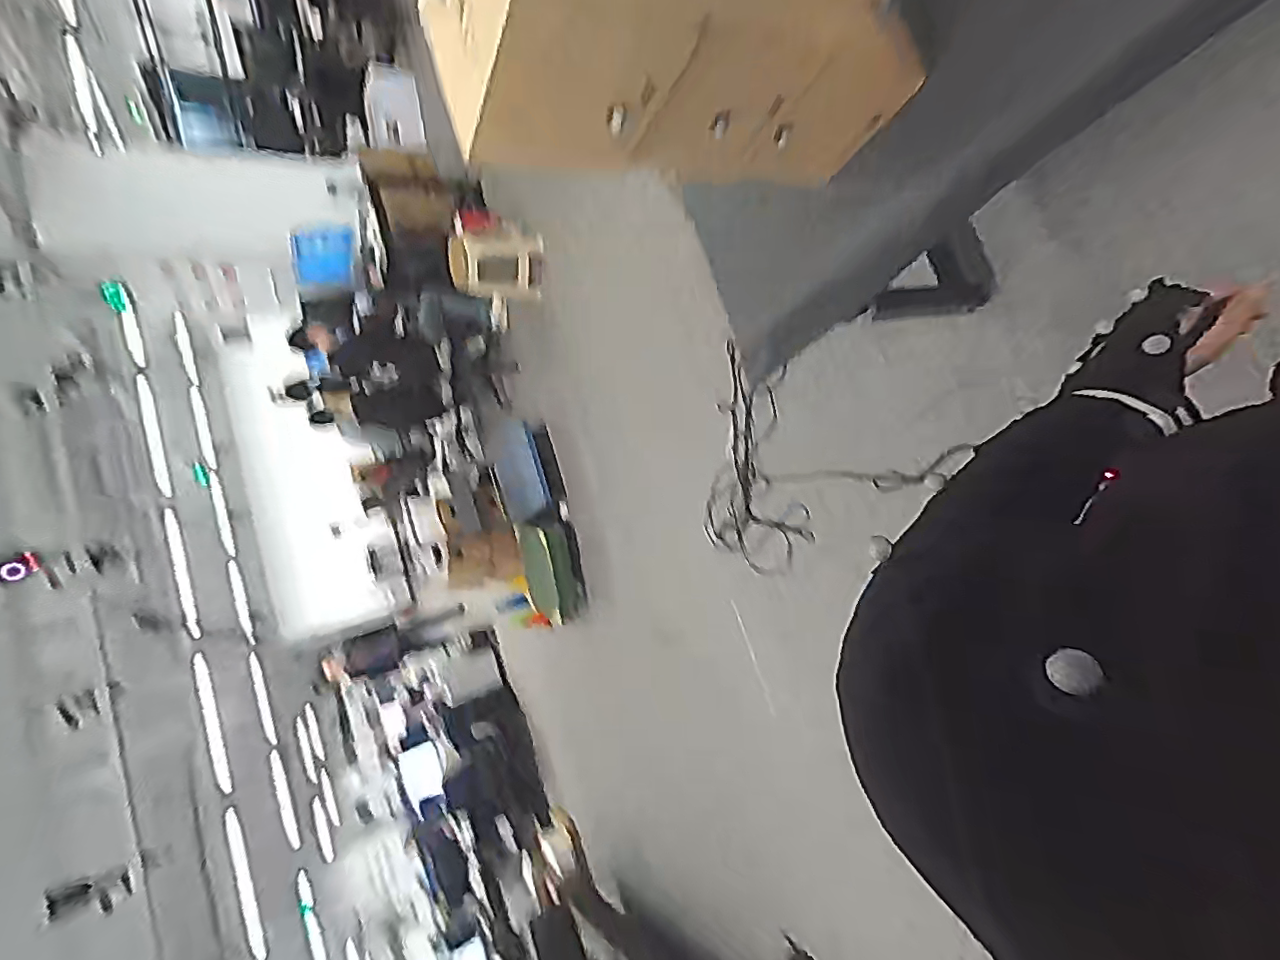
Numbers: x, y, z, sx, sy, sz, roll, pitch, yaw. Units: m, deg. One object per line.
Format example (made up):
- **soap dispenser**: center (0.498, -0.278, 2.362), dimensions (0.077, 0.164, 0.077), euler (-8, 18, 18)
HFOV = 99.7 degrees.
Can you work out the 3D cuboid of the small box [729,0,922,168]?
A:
- **small box**: center (0.191, -0.505, 0.641), dimensions (0.168, 0.176, 0.179), euler (-31, 75, 57)
